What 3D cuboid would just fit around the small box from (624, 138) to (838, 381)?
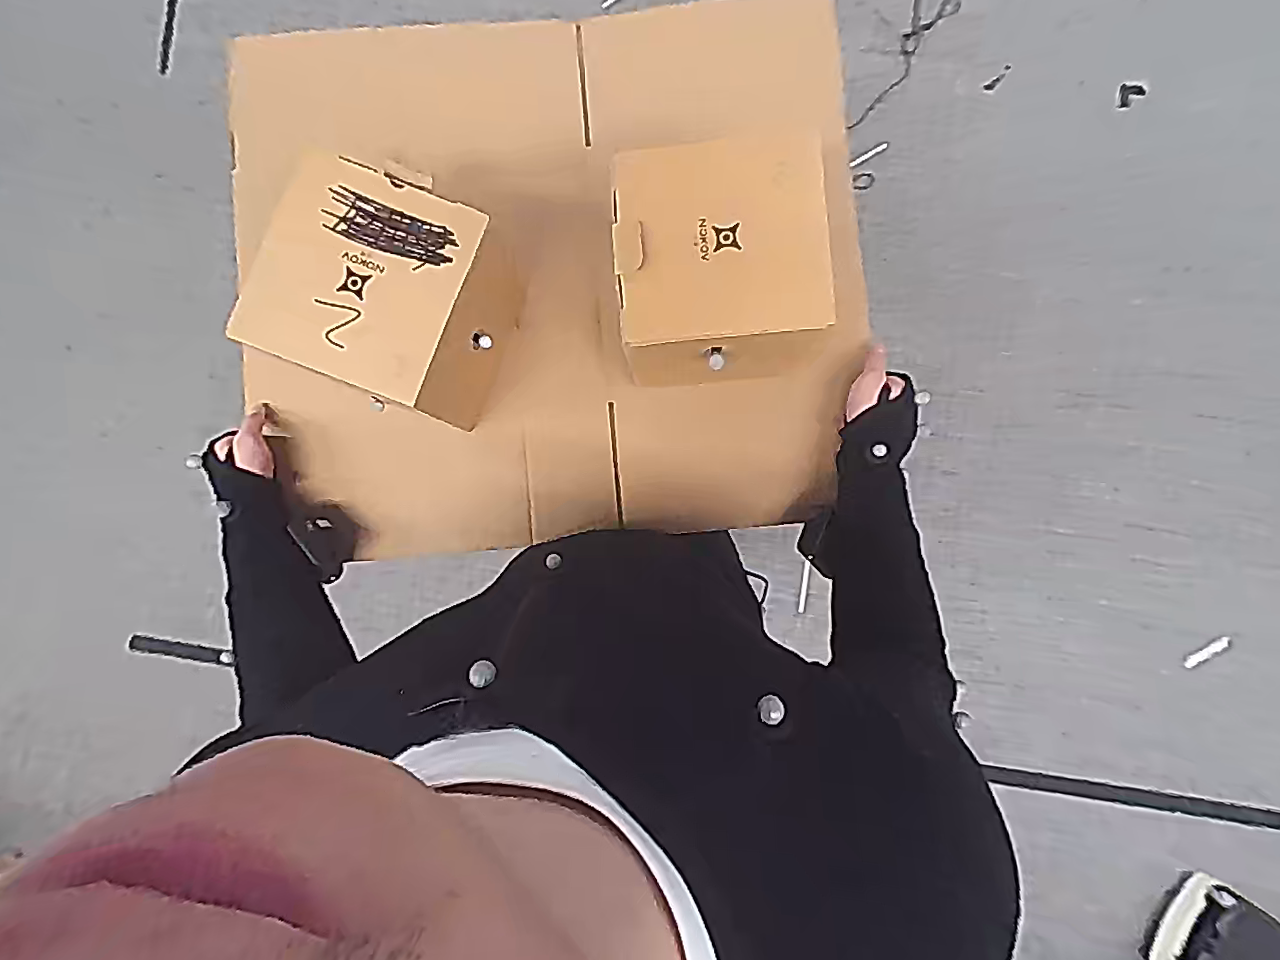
[{"bbox_3d":[0.081,-0.202,0.541,0.179,0.176,0.168,-4,87,4],"label":"small box"}]
